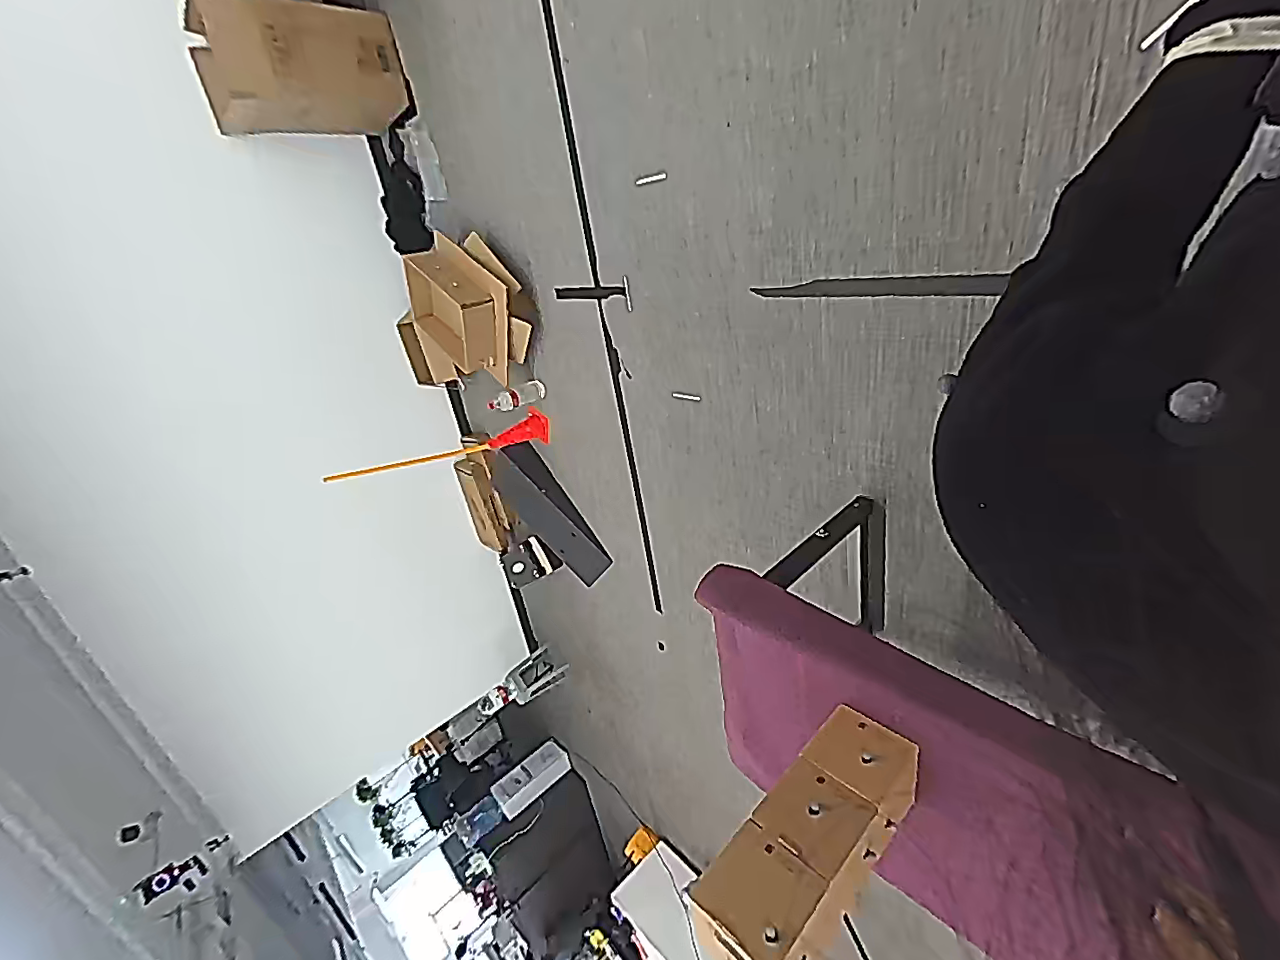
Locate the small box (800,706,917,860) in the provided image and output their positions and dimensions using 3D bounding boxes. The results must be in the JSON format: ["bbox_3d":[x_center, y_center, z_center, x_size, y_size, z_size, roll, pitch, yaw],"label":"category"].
[{"bbox_3d":[0.444,0.604,1.100,0.168,0.176,0.179,18,128,45],"label":"small box"}]

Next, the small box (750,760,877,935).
[{"bbox_3d":[0.325,0.673,1.011,0.168,0.176,0.179,20,128,45],"label":"small box"}]

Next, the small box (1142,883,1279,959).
[{"bbox_3d":[0.782,0.699,0.717,0.168,0.176,0.179,15,125,48],"label":"small box"}]
